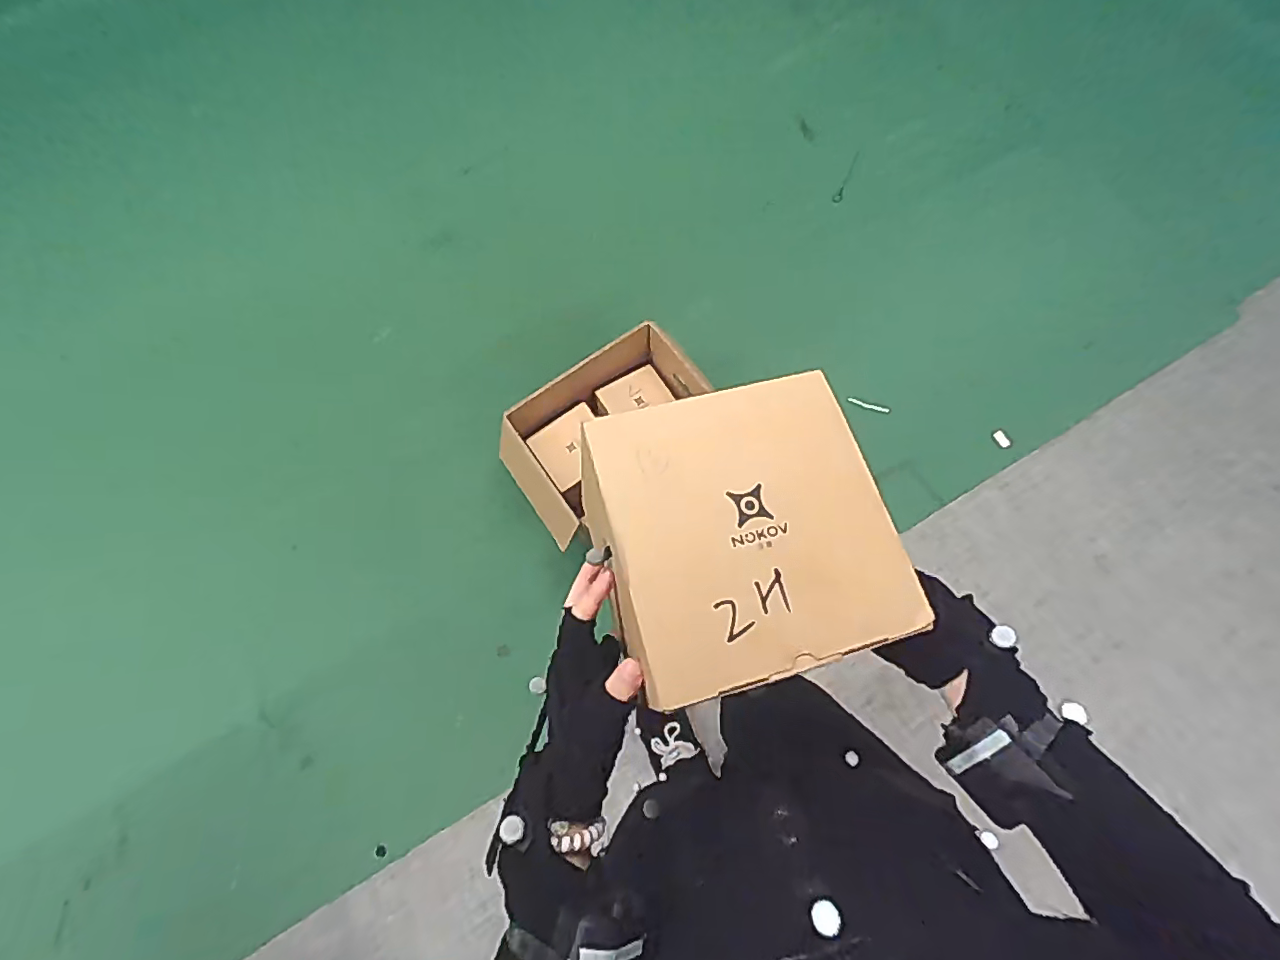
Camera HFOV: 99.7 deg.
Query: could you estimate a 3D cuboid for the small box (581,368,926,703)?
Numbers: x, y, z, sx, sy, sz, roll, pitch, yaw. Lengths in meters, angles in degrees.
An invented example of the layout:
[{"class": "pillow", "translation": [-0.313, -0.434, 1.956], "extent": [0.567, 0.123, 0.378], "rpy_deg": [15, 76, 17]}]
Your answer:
[{"class": "small box", "translation": [0.055, 0.049, 0.392], "extent": [0.168, 0.176, 0.179], "rpy_deg": [-14, 72, -9]}]
